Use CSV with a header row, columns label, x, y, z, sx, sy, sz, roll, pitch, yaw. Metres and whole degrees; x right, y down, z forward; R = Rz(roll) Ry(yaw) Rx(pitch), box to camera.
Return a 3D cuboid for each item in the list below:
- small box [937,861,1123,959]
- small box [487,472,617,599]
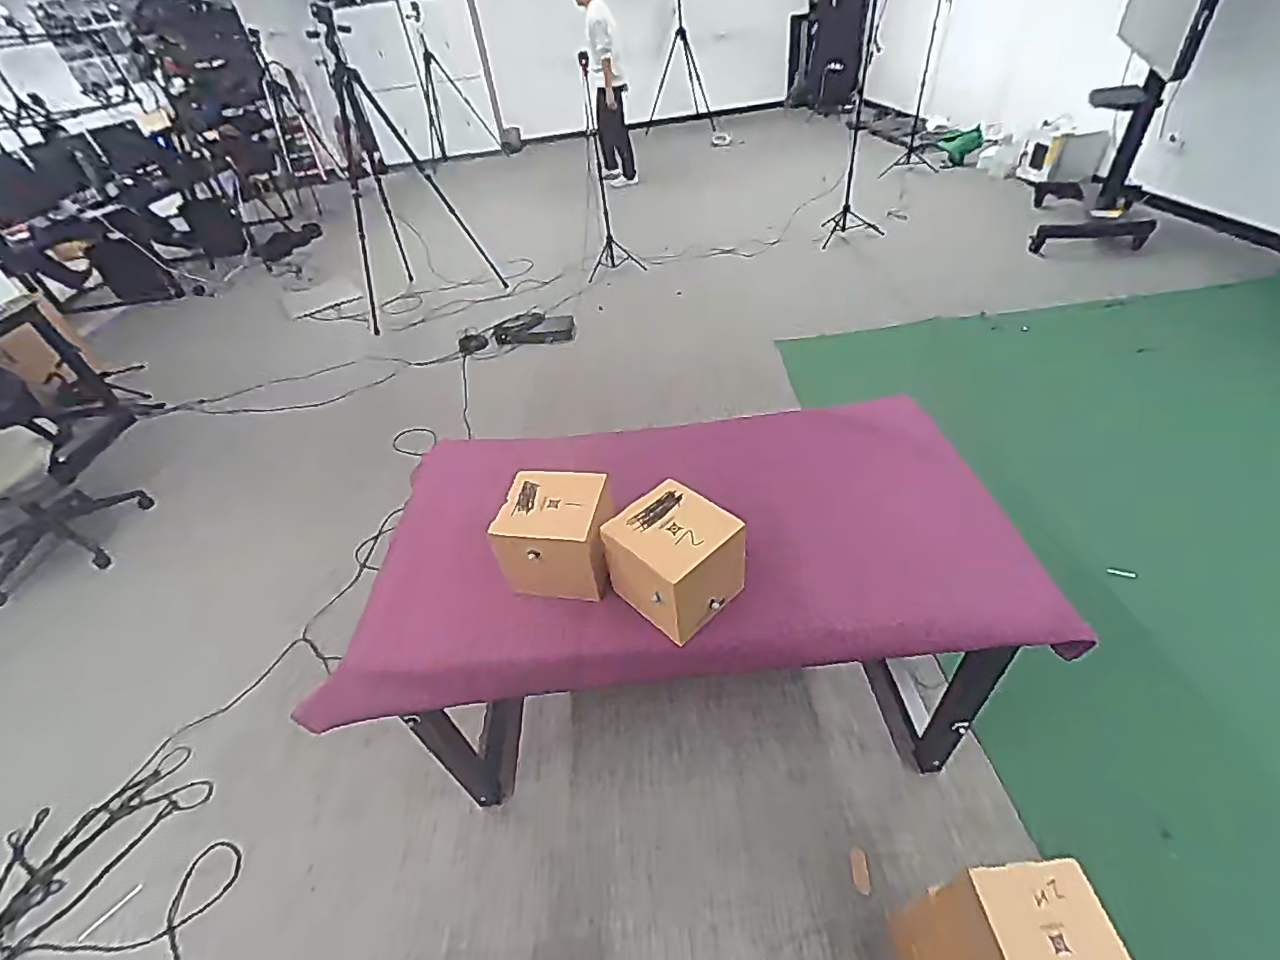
label,x,y,z,sx,sy,sz,roll,pitch,yaw
small box,0.584,0.702,0.813,0.168,0.176,0.179,-7,42,1
small box,-0.152,0.102,0.998,0.179,0.176,0.168,3,43,11
